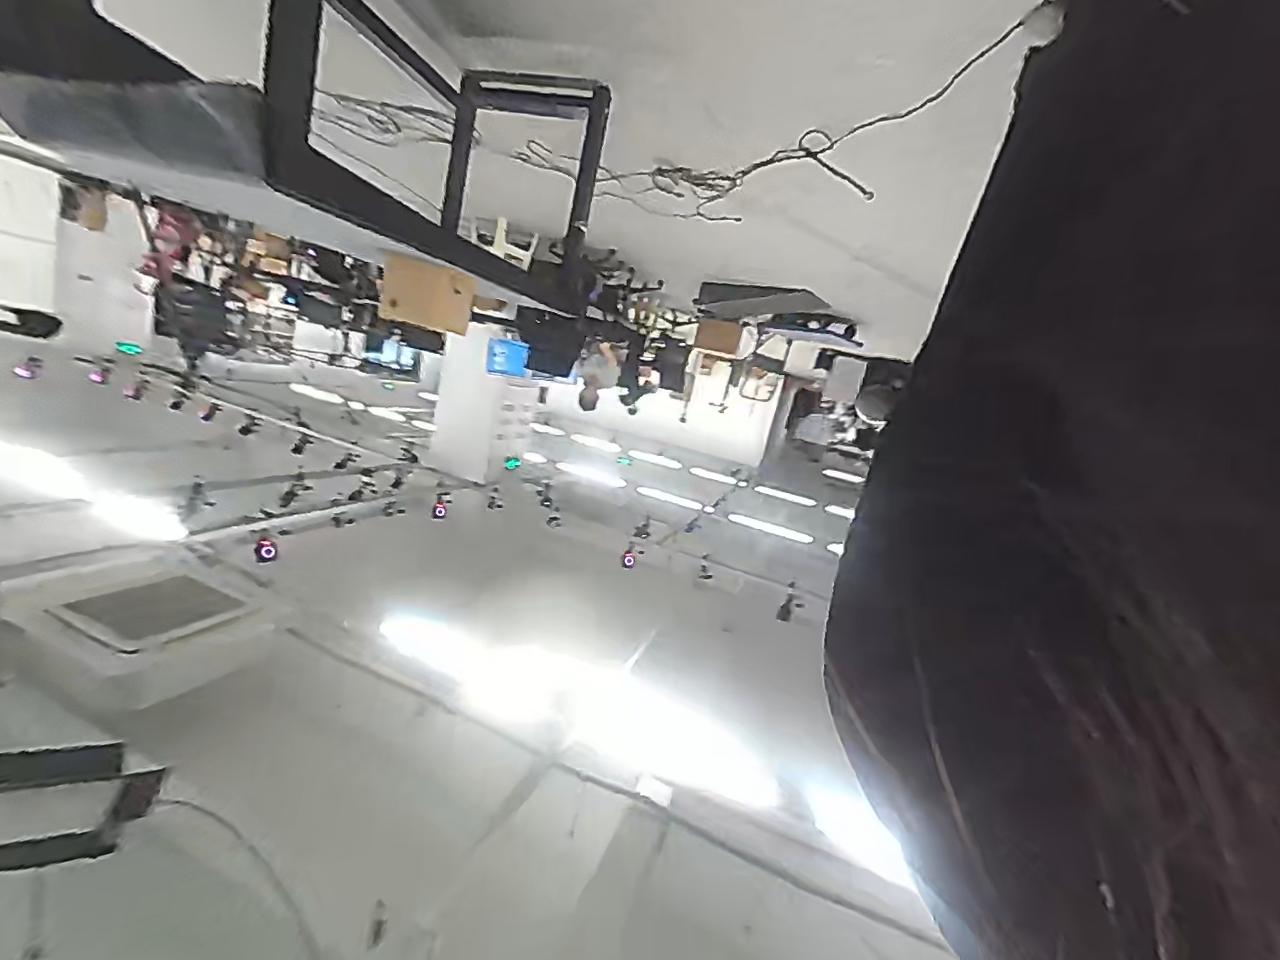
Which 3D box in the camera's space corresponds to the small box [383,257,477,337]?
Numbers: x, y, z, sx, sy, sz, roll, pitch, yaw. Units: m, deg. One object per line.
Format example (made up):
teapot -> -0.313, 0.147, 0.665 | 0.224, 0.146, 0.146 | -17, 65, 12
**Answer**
small box -> -0.585, -0.514, 1.520 | 0.179, 0.176, 0.168 | 17, -169, 15
